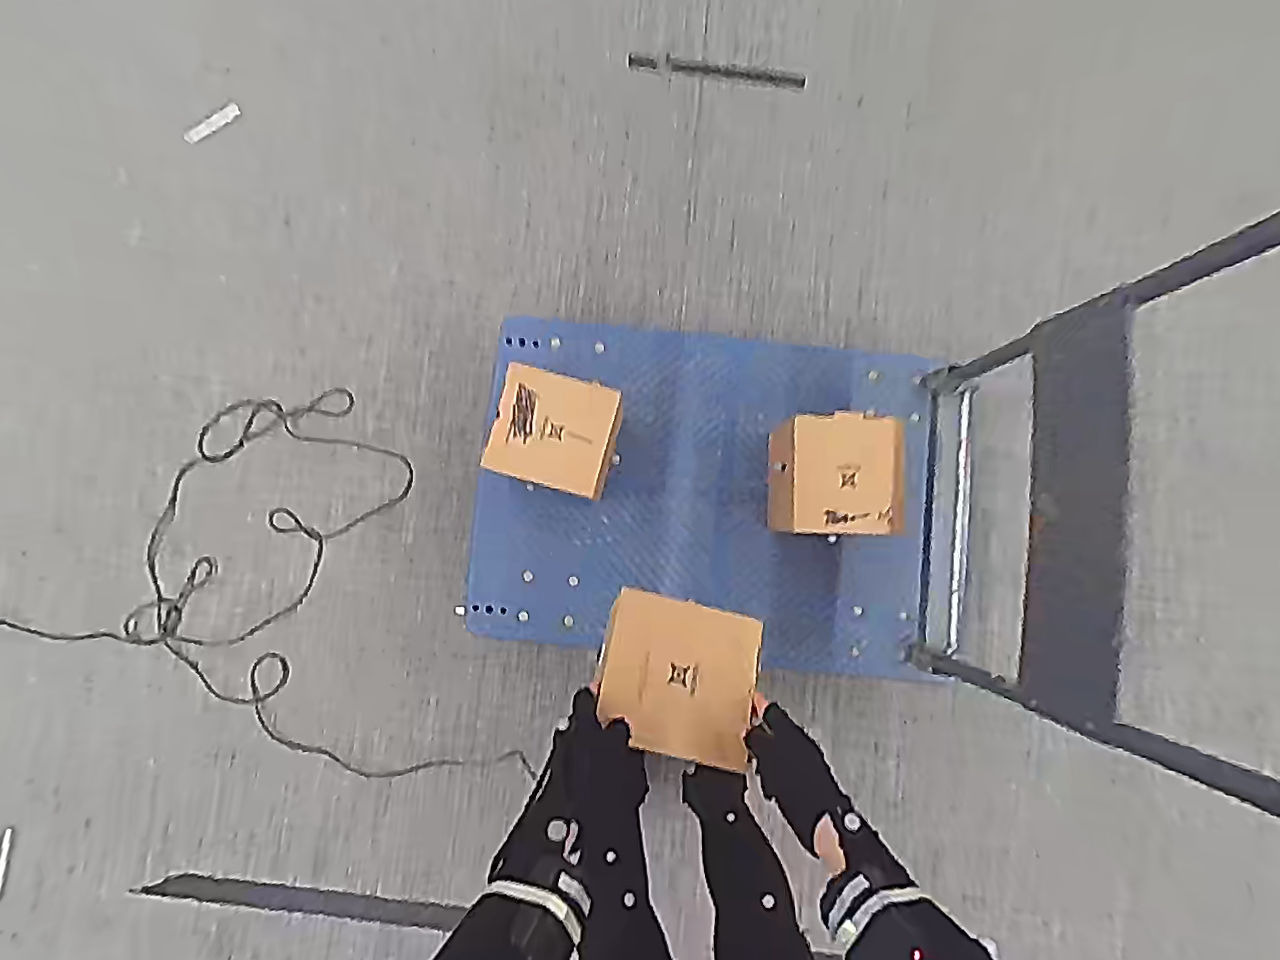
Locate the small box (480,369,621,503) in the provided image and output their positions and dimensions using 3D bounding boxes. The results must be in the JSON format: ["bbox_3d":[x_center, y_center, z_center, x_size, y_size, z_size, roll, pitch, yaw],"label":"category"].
[{"bbox_3d":[-0.136,-0.061,0.891,0.179,0.176,0.168,16,85,0],"label":"small box"}]

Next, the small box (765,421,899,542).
[{"bbox_3d":[0.304,0.010,0.887,0.168,0.176,0.179,2,84,1],"label":"small box"}]

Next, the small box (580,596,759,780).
[{"bbox_3d":[0.030,0.259,0.675,0.179,0.176,0.168,14,64,-2],"label":"small box"}]
